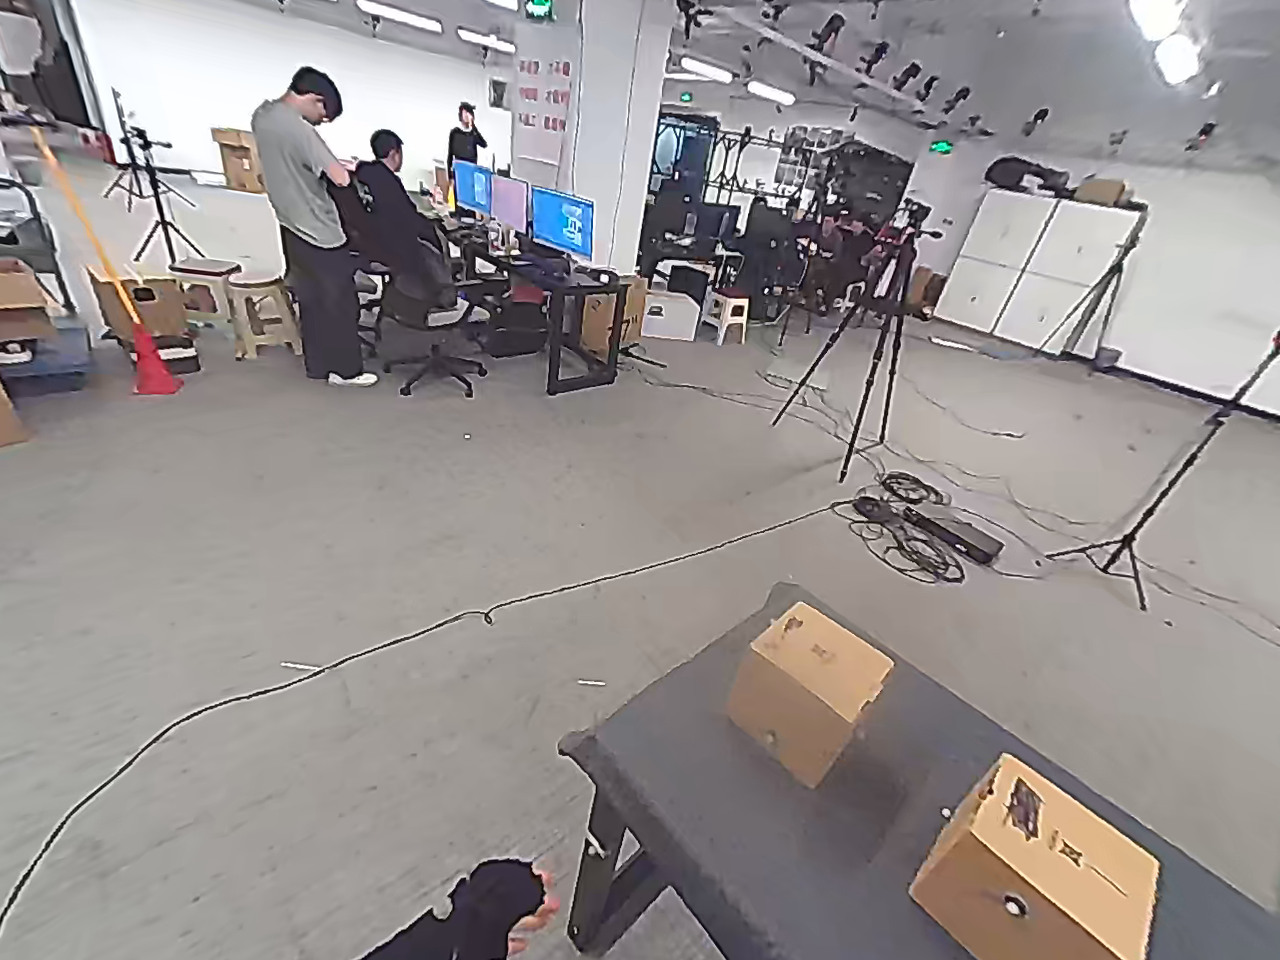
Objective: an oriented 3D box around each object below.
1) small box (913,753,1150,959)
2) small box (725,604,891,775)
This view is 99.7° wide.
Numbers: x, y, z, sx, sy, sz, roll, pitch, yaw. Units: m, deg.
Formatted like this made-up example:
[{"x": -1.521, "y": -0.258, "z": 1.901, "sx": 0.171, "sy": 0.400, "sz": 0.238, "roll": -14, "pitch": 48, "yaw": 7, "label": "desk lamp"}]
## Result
[{"x": 0.485, "y": 0.504, "z": 0.688, "sx": 0.168, "sy": 0.176, "sz": 0.179, "roll": -19, "pitch": 42, "yaw": -40, "label": "small box"}, {"x": 0.268, "y": 0.344, "z": 0.885, "sx": 0.179, "sy": 0.176, "sz": 0.168, "roll": 33, "pitch": 37, "yaw": 32, "label": "small box"}]
